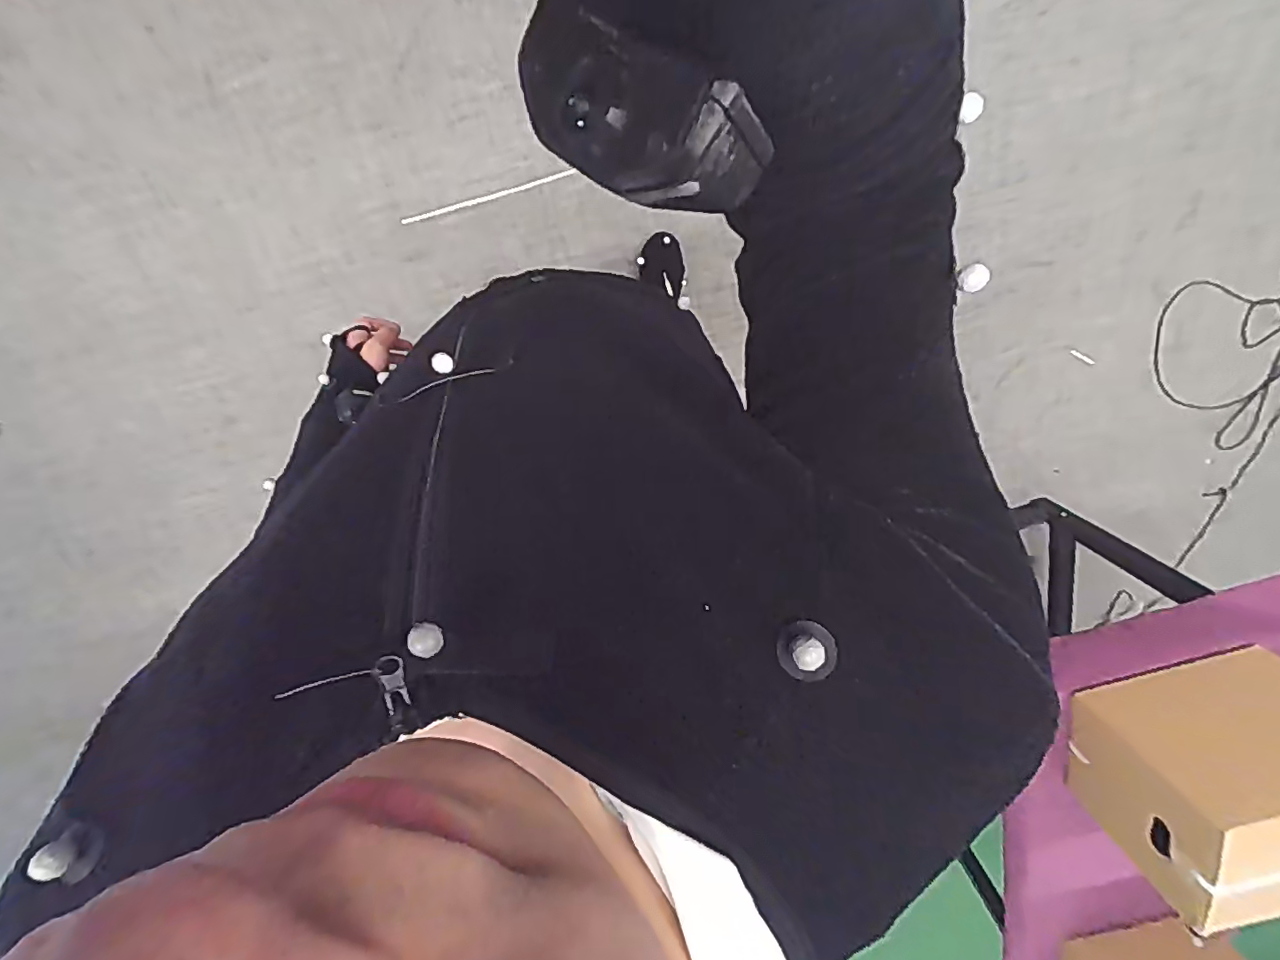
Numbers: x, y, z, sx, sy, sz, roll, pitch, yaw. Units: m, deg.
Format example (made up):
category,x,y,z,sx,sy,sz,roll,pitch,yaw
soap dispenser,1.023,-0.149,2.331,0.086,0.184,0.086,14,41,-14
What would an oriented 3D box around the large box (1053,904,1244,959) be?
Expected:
category,x,y,z,sx,sy,sz,roll,pitch,yaw
large box,1.432,1.442,1.464,0.408,0.320,0.320,-14,112,2
